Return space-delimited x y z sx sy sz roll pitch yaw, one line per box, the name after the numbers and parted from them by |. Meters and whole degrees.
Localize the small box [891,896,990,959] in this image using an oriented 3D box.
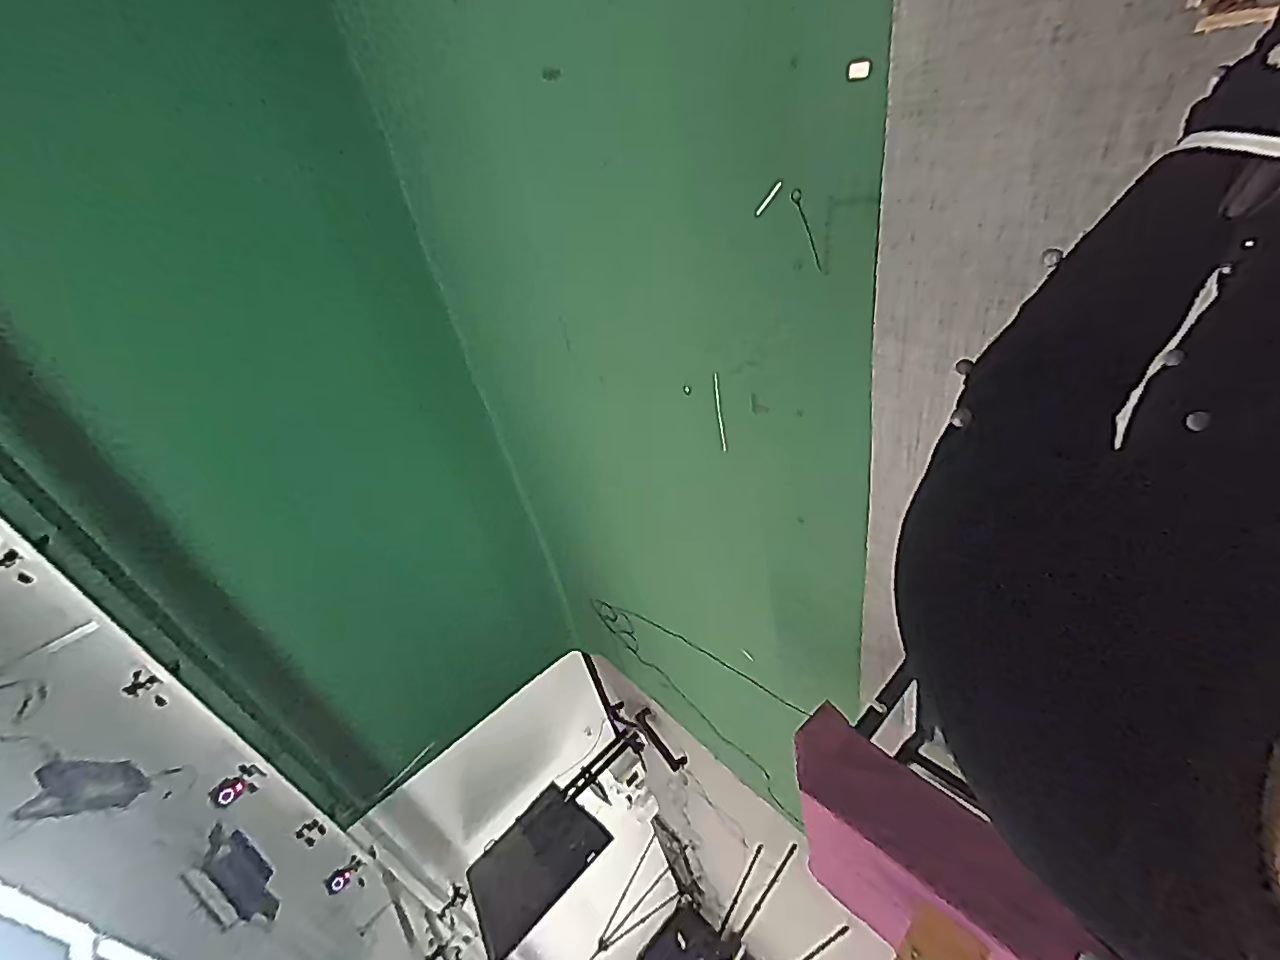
0.780 1.249 1.410 0.179 0.176 0.168 26 140 45 | small box
